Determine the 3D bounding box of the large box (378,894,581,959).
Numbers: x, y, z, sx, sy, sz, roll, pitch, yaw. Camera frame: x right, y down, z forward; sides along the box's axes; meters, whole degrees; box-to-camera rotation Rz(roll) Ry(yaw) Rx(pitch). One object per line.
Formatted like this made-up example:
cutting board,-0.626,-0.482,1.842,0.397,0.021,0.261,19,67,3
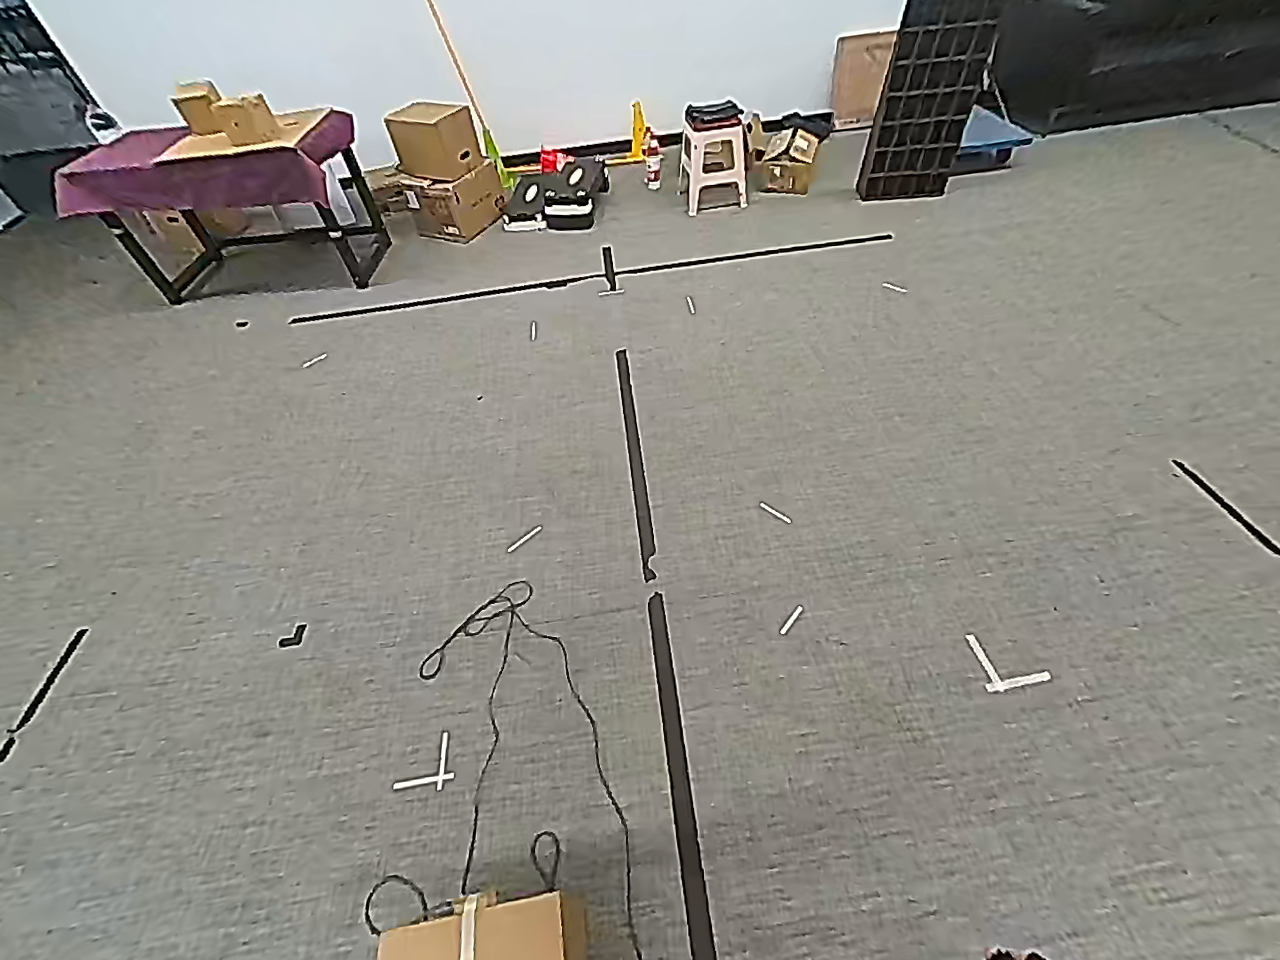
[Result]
large box,-0.256,1.007,0.939,0.320,0.320,0.408,-10,50,-4
